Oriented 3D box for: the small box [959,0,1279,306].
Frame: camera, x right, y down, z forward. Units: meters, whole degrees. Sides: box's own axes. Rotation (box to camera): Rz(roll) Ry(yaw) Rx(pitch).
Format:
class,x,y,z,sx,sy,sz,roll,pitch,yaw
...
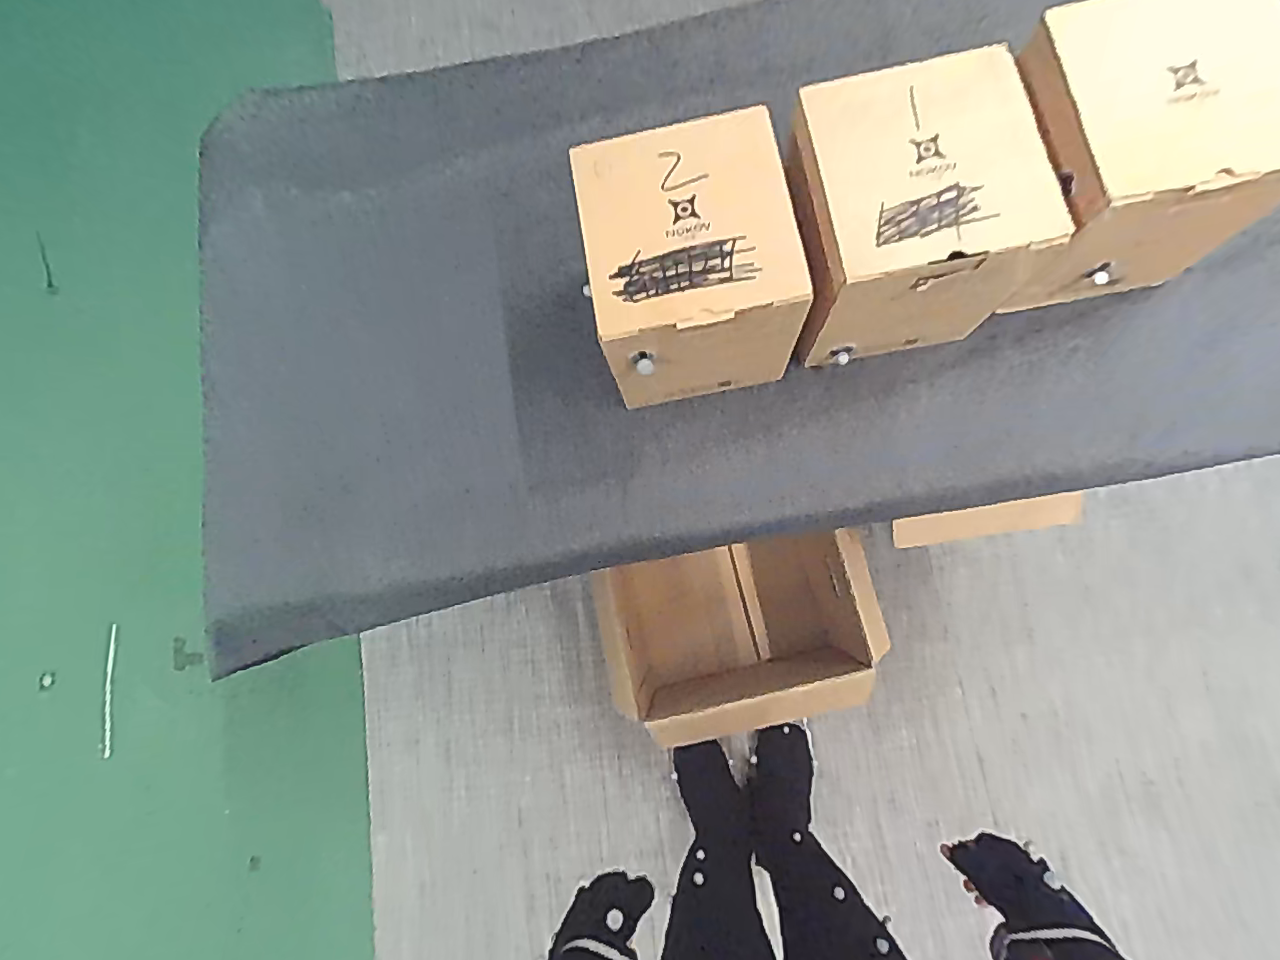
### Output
class,x,y,z,sx,sy,sz,roll,pitch,yaw
small box,0.417,-0.283,0.478,0.168,0.176,0.179,-9,80,4
